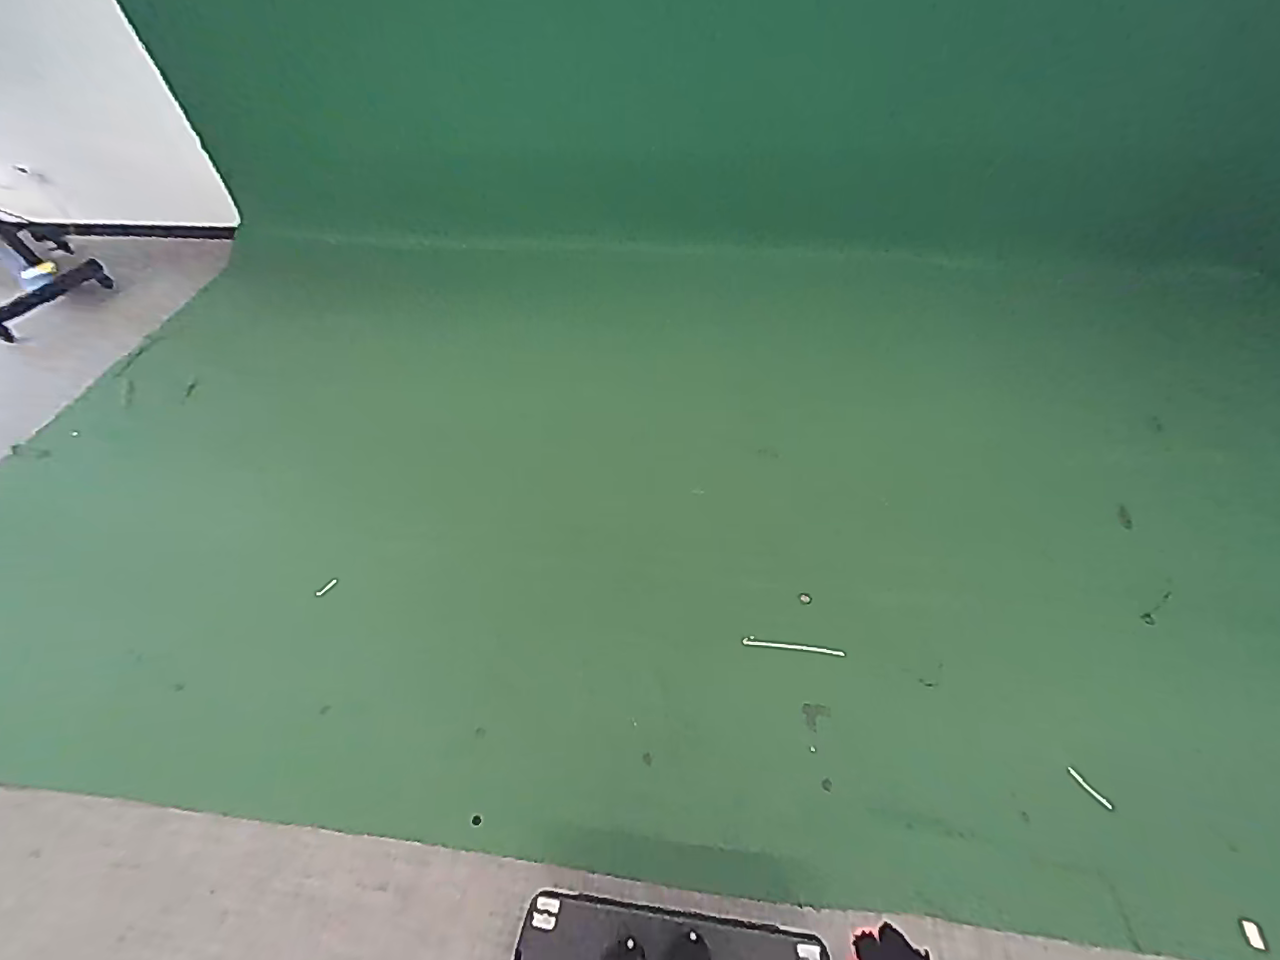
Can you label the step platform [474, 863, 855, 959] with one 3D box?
[{"bbox_3d":[0.043,0.936,1.011,0.684,0.204,0.286,4,52,6],"label":"step platform"}]
